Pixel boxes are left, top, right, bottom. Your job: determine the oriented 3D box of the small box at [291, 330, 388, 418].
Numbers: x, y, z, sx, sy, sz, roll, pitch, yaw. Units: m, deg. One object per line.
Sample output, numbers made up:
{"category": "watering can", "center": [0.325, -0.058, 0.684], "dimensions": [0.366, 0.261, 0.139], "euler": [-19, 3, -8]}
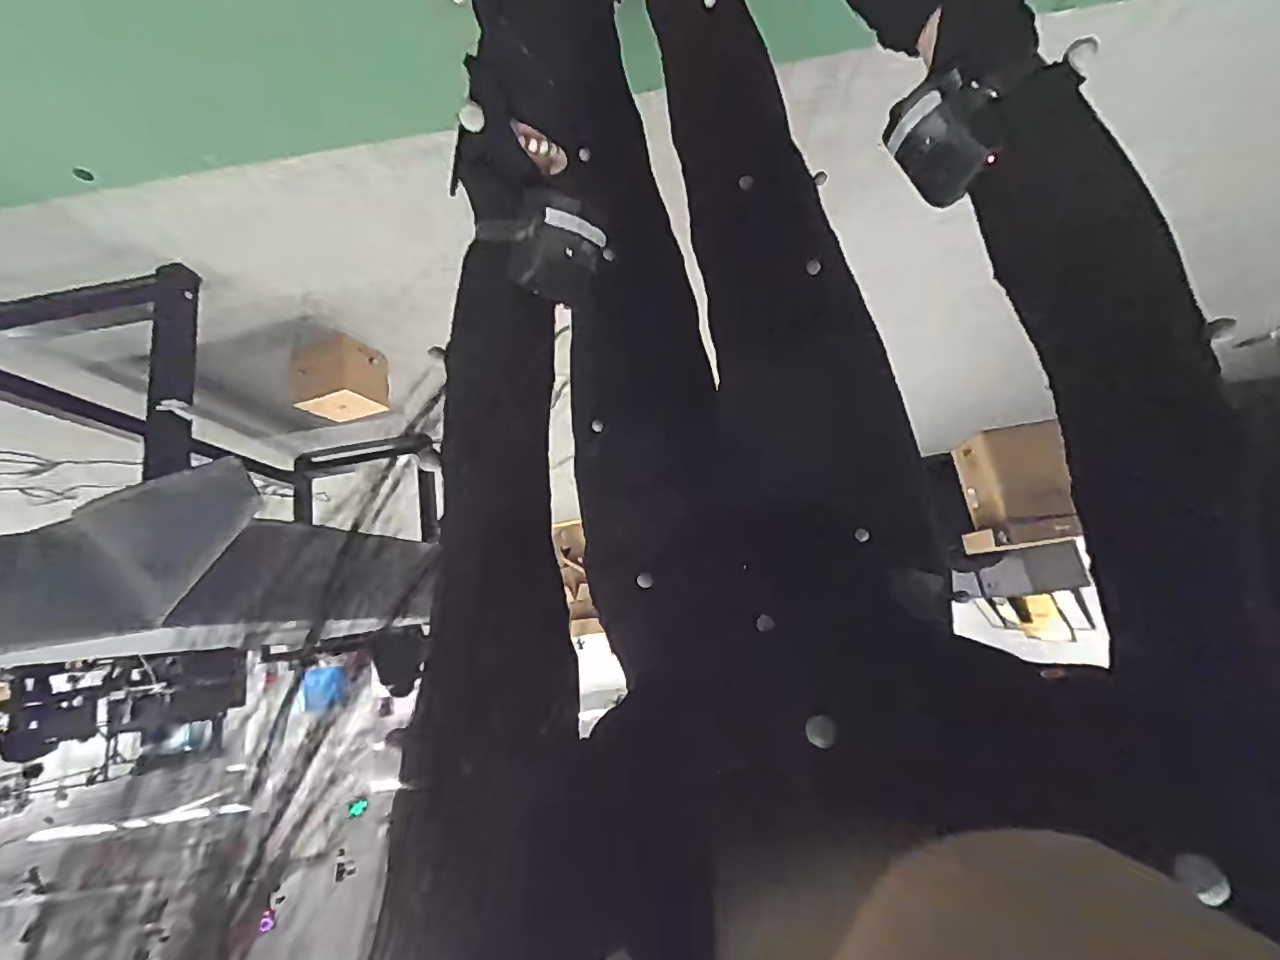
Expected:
{"category": "small box", "center": [-0.823, -0.290, 1.491], "dimensions": [0.179, 0.176, 0.168], "euler": [-11, 167, 14]}
